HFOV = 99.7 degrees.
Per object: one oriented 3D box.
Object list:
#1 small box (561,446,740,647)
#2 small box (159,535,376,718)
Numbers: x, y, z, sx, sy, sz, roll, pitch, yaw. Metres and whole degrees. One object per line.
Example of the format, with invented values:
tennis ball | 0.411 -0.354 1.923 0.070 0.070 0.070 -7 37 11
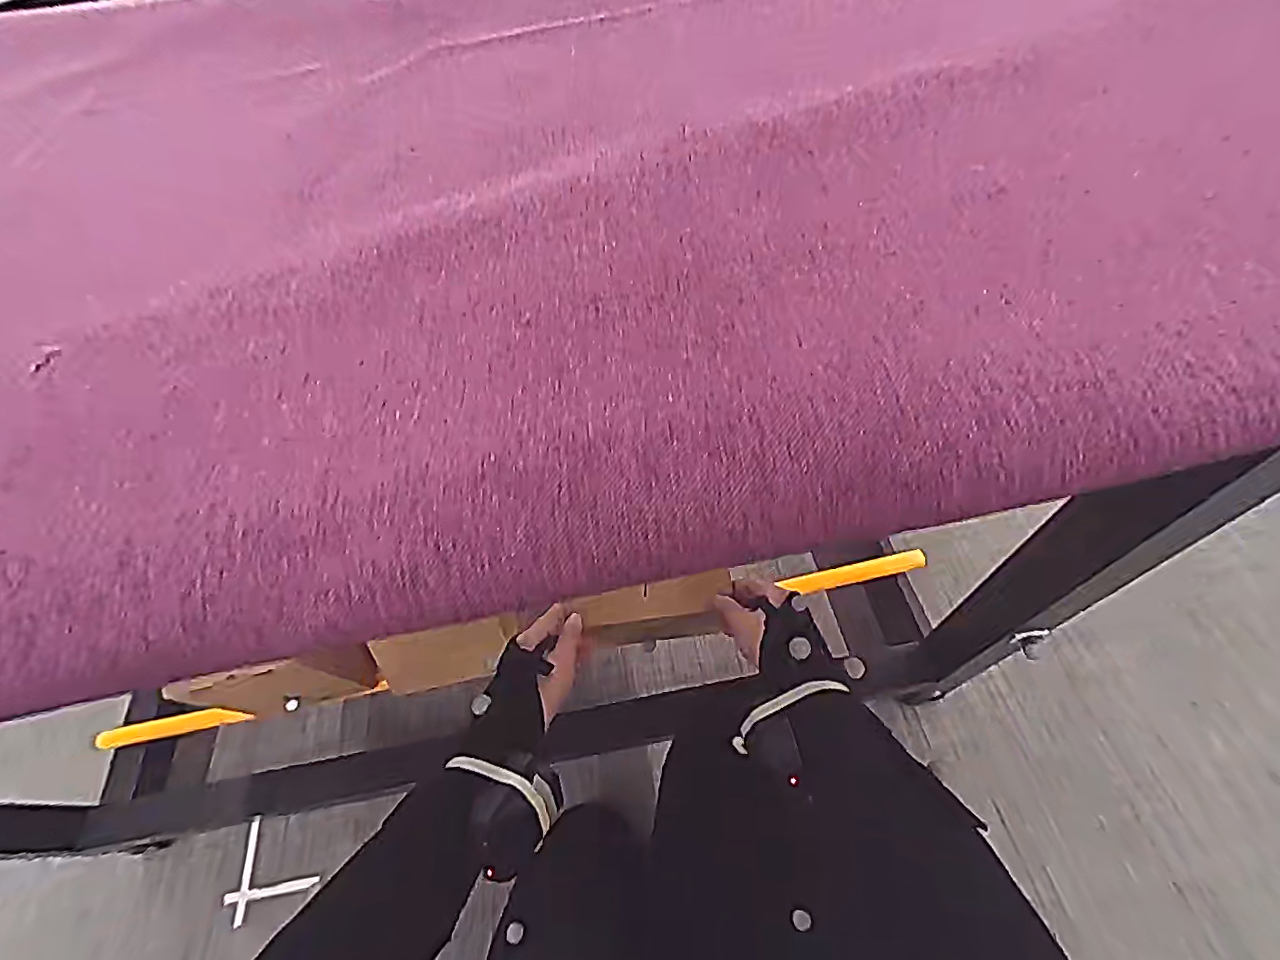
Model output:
small box | 0.008 0.082 0.609 0.168 0.176 0.179 -7 67 0
small box | -0.478 0.202 0.728 0.168 0.176 0.179 -14 59 -1
